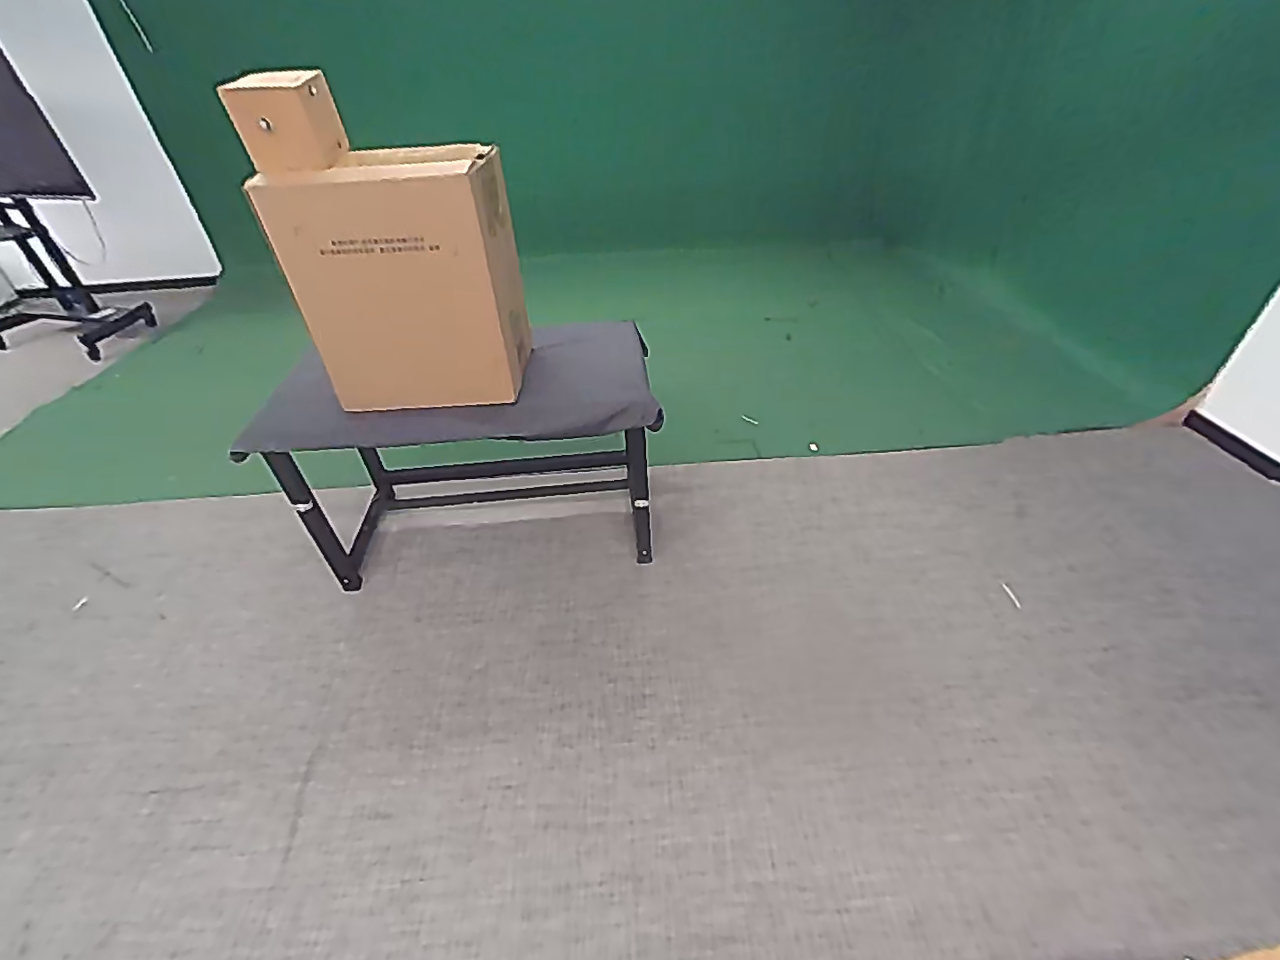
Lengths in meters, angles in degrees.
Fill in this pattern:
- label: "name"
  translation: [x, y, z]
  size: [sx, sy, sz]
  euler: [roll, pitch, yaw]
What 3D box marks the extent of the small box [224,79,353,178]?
- label: "small box"
  translation: [-0.840, -0.852, 1.315]
  size: [0.179, 0.176, 0.168]
  euler: [-3, 47, 1]
